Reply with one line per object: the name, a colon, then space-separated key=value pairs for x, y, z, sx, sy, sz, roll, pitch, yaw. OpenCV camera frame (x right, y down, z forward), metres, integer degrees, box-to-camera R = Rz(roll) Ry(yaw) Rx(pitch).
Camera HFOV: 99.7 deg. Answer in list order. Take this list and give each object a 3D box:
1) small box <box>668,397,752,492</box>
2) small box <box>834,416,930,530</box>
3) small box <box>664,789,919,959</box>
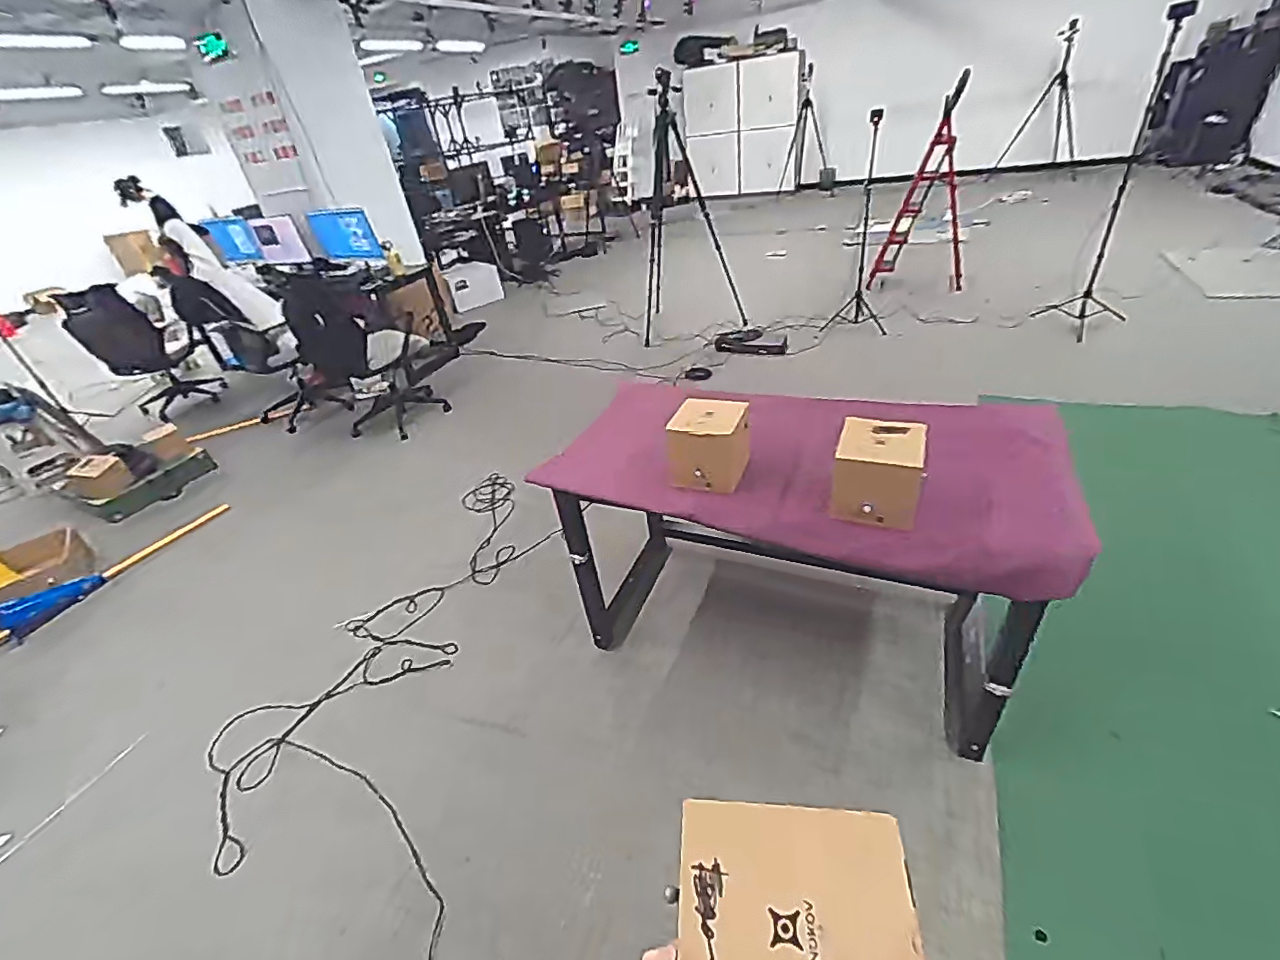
small box: x=0.181 y=-0.093 z=1.361 sx=0.168 sy=0.176 sz=0.179 roll=8 pitch=36 yaw=24
small box: x=0.523 y=-0.019 z=1.177 sx=0.168 sy=0.176 sz=0.179 roll=9 pitch=38 yaw=25
small box: x=0.113 y=0.376 z=0.441 sx=0.179 sy=0.176 sz=0.168 roll=0 pitch=43 yaw=9
